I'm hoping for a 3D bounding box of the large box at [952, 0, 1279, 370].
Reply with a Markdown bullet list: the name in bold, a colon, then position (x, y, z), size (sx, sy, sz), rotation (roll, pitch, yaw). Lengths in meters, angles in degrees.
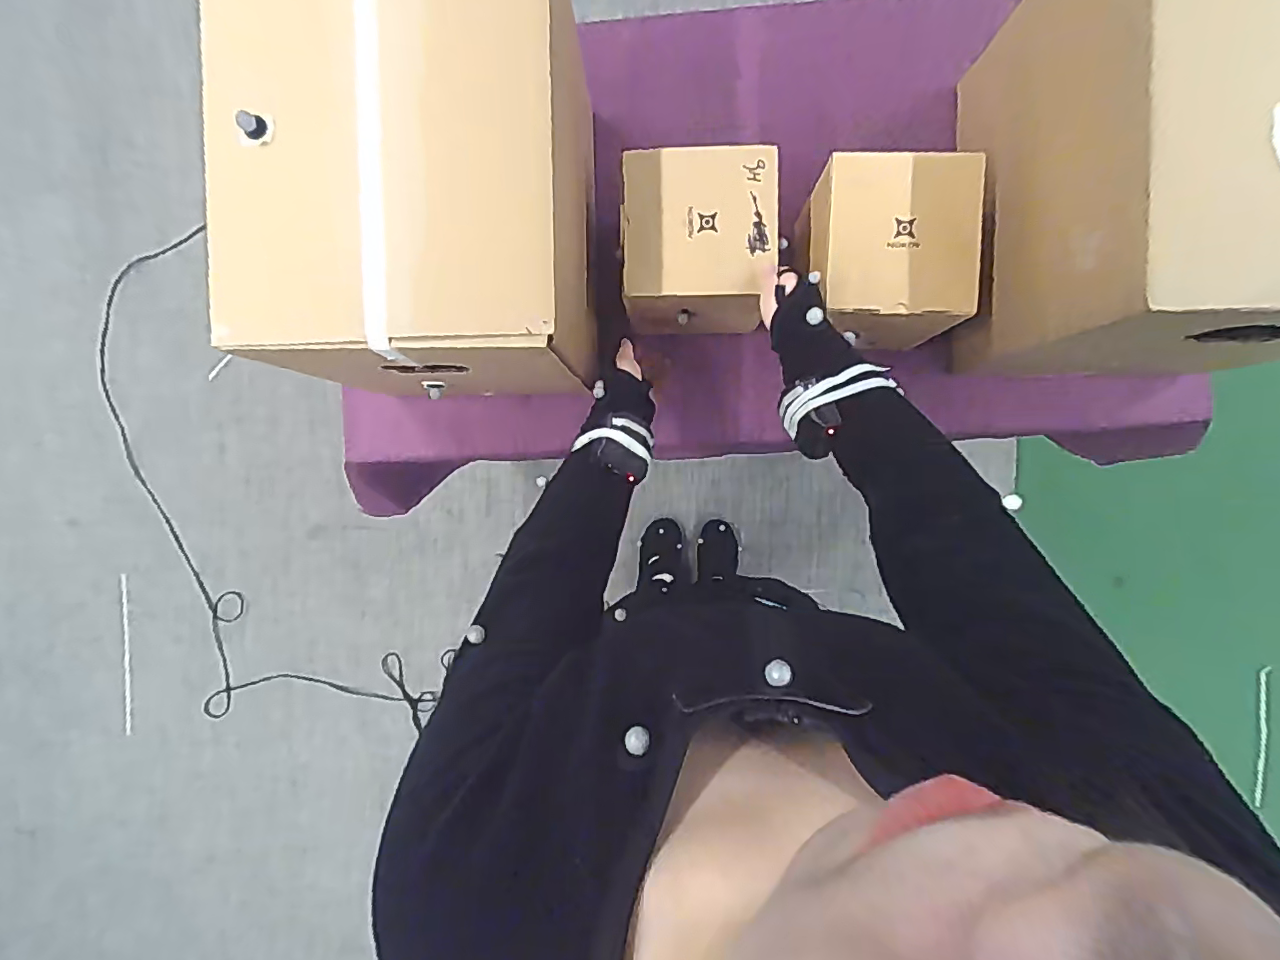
- **large box**: position (0.578, -0.347, 0.594), size (0.320, 0.320, 0.408), rotation (0, 92, 3)
